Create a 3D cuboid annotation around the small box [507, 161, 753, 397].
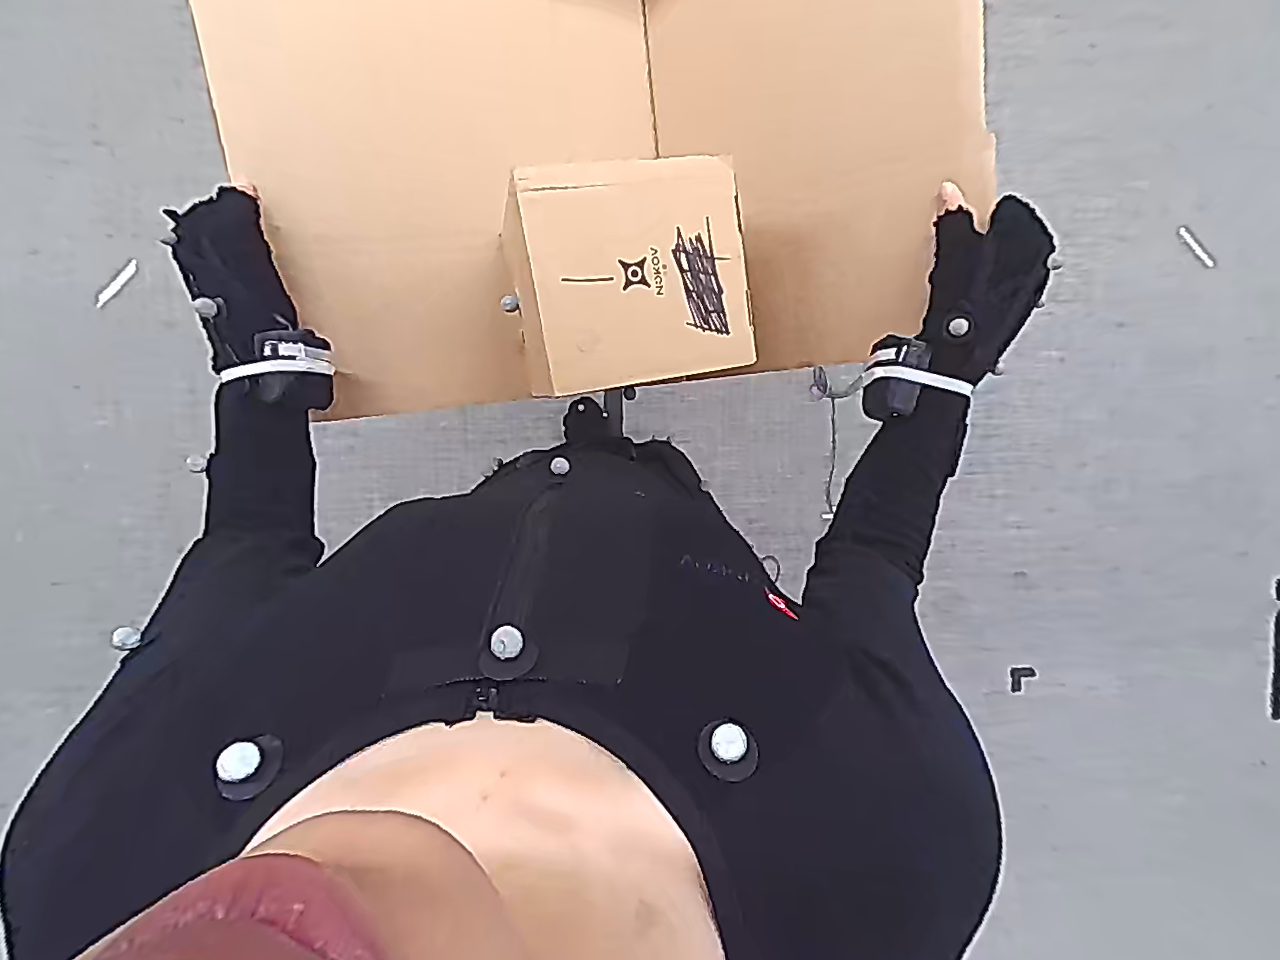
[{"bbox_3d":[-0.018,-0.173,0.501,0.179,0.176,0.168,-12,102,-14],"label":"small box"}]
